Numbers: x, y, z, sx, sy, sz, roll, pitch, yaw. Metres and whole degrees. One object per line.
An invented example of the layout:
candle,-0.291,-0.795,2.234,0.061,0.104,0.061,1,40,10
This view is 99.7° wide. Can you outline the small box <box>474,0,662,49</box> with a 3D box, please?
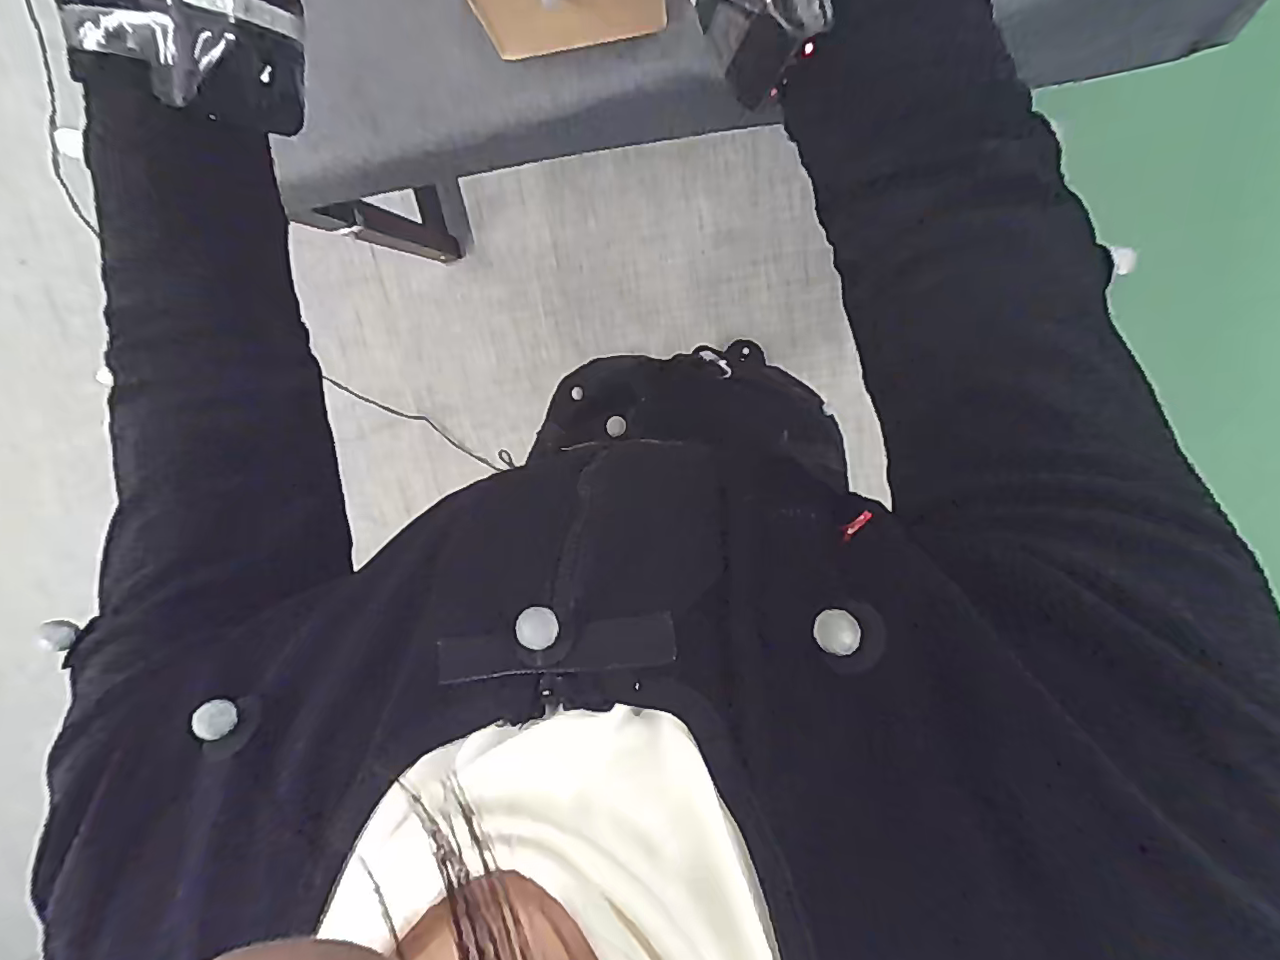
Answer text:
small box,-0.078,-0.516,0.468,0.179,0.176,0.168,-6,104,6
